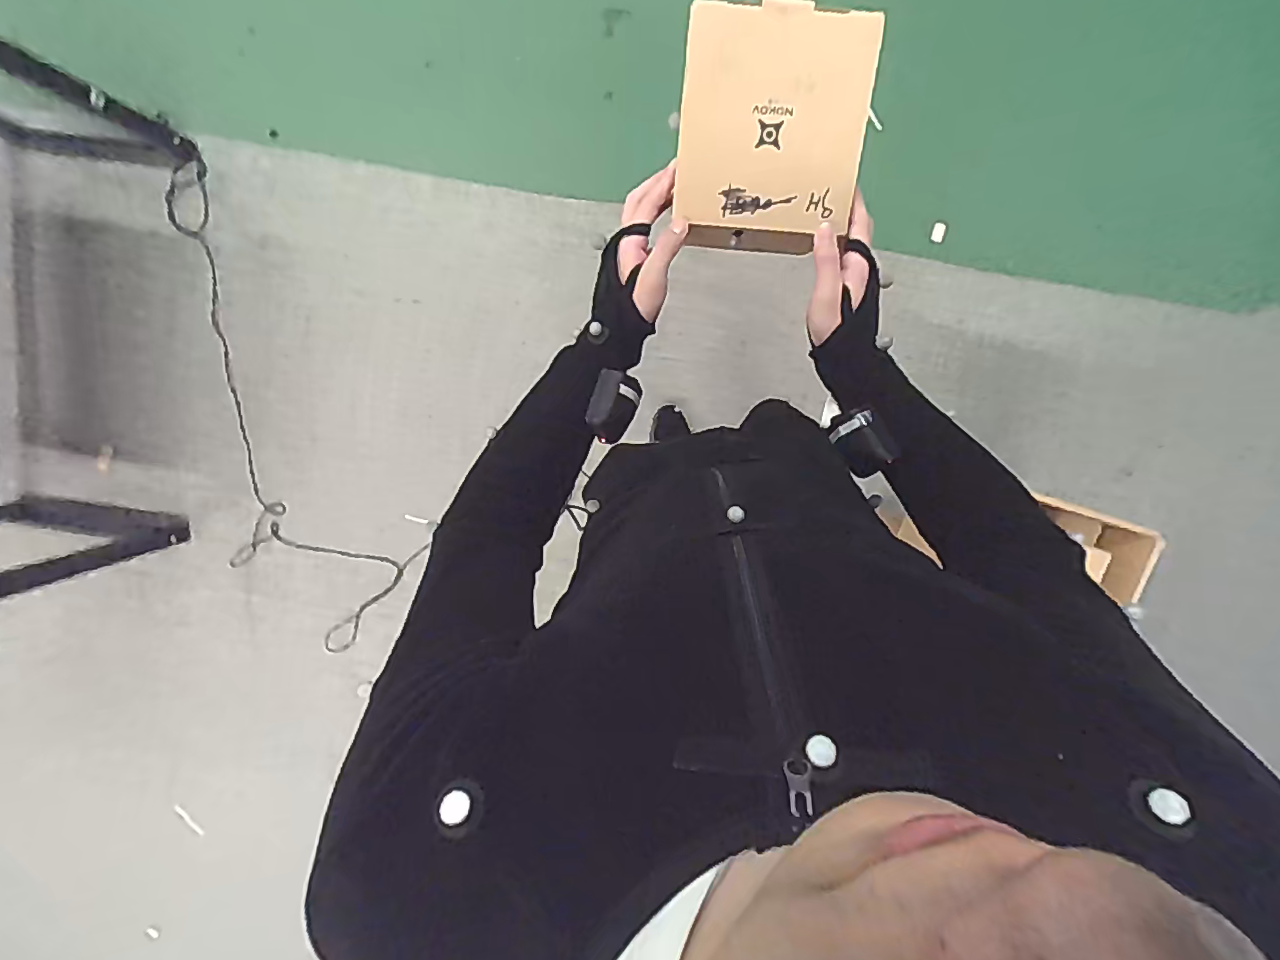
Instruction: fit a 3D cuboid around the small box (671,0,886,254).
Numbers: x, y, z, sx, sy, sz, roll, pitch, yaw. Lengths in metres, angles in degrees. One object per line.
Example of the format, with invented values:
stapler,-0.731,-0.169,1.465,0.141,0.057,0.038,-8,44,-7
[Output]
small box,0.121,-0.338,0.550,0.168,0.176,0.179,5,108,2
